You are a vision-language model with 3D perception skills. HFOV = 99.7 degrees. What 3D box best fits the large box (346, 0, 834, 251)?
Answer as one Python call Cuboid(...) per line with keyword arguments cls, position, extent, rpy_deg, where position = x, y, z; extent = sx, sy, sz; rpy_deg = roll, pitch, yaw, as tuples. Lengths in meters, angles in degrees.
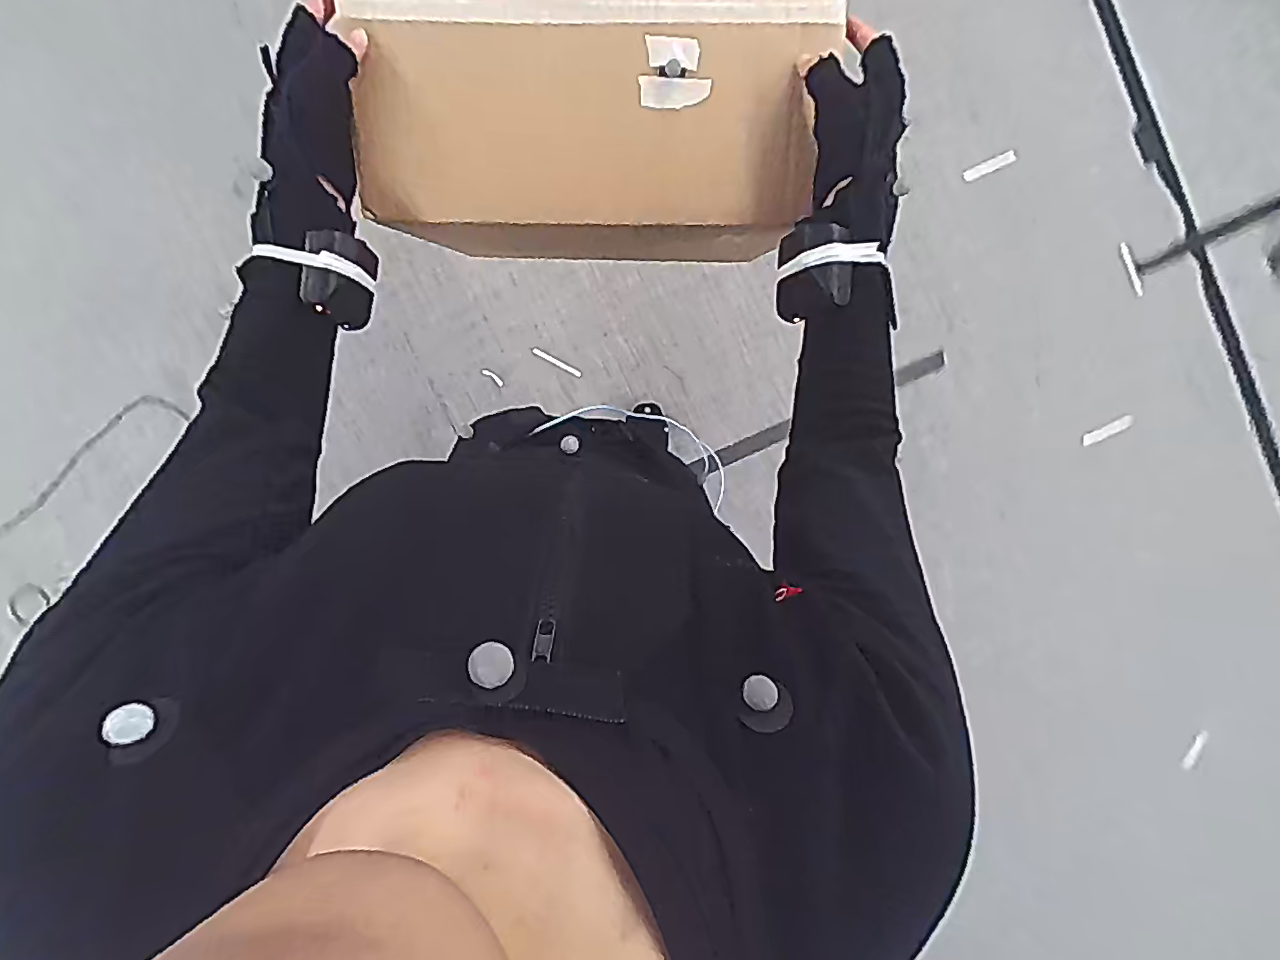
Cuboid(cls="large box", position=(-0.044, -0.432, 0.578), extent=(0.408, 0.320, 0.320), rpy_deg=(-1, 108, -1))
